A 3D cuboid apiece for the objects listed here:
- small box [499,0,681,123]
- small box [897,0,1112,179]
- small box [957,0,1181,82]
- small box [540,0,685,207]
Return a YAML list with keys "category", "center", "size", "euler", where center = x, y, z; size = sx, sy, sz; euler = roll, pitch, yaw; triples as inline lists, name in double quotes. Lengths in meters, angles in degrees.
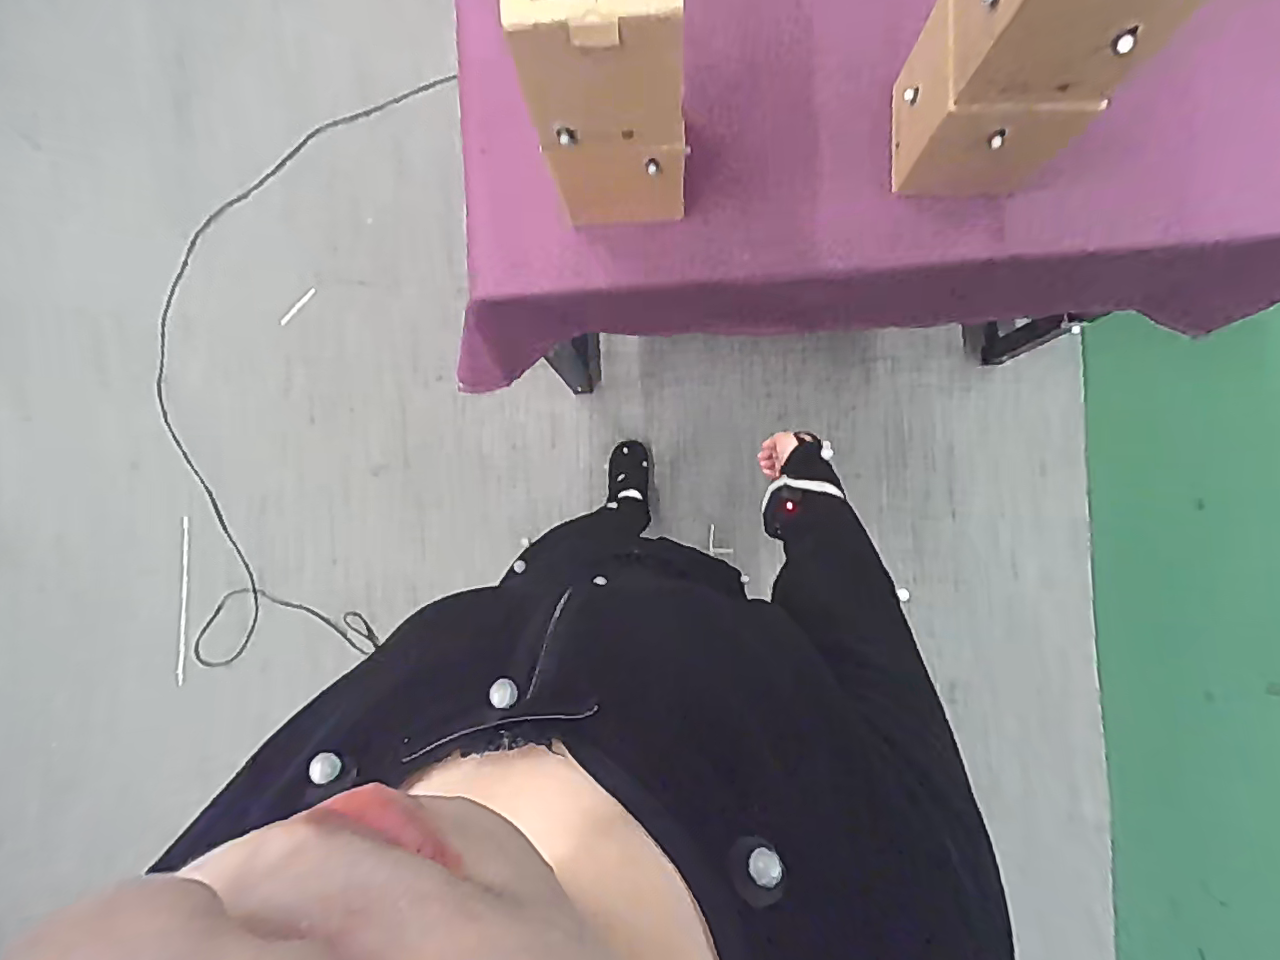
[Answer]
- category: "small box"
  center: [-0.041, -0.504, 0.562]
  size: [0.168, 0.176, 0.179]
  euler: [-2, 85, 3]
- category: "small box"
  center: [0.448, -0.511, 0.690]
  size: [0.179, 0.176, 0.168]
  euler: [3, 87, 4]
- category: "small box"
  center: [0.436, -0.530, 0.528]
  size: [0.168, 0.176, 0.179]
  euler: [3, 86, 4]
- category: "small box"
  center: [-0.028, -0.490, 0.725]
  size: [0.179, 0.176, 0.168]
  euler: [-1, 86, 3]
